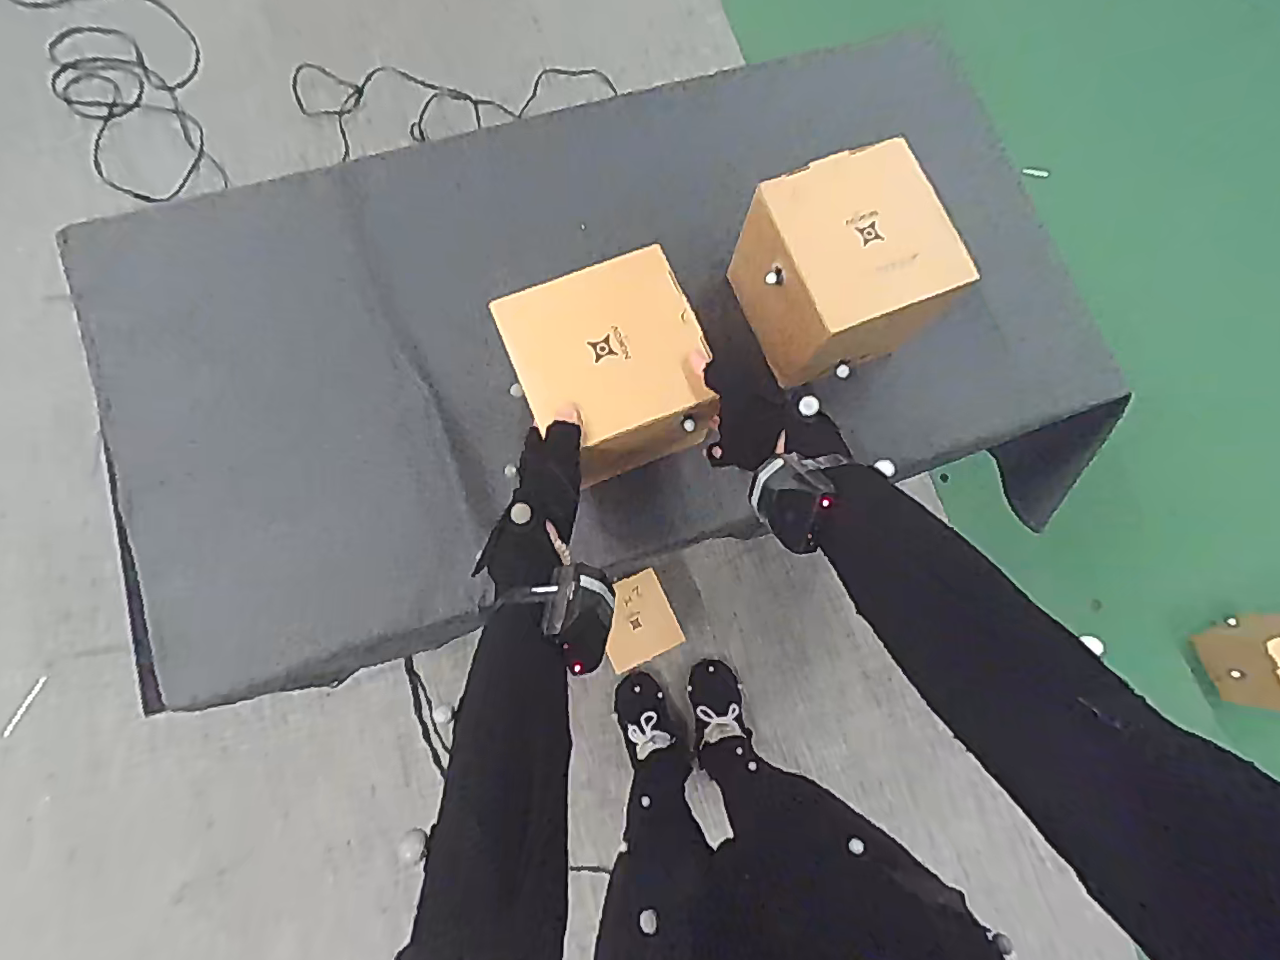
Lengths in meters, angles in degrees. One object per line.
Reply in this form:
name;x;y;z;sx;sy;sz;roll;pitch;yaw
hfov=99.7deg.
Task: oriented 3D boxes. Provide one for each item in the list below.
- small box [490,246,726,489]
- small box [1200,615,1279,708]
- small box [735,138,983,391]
small box;-0.032;-0.103;0.571;0.179;0.176;0.168;-22;80;-7
small box;1.488;0.424;1.269;0.179;0.176;0.168;-19;80;-5
small box;0.222;-0.225;0.602;0.168;0.176;0.179;-20;81;-5
